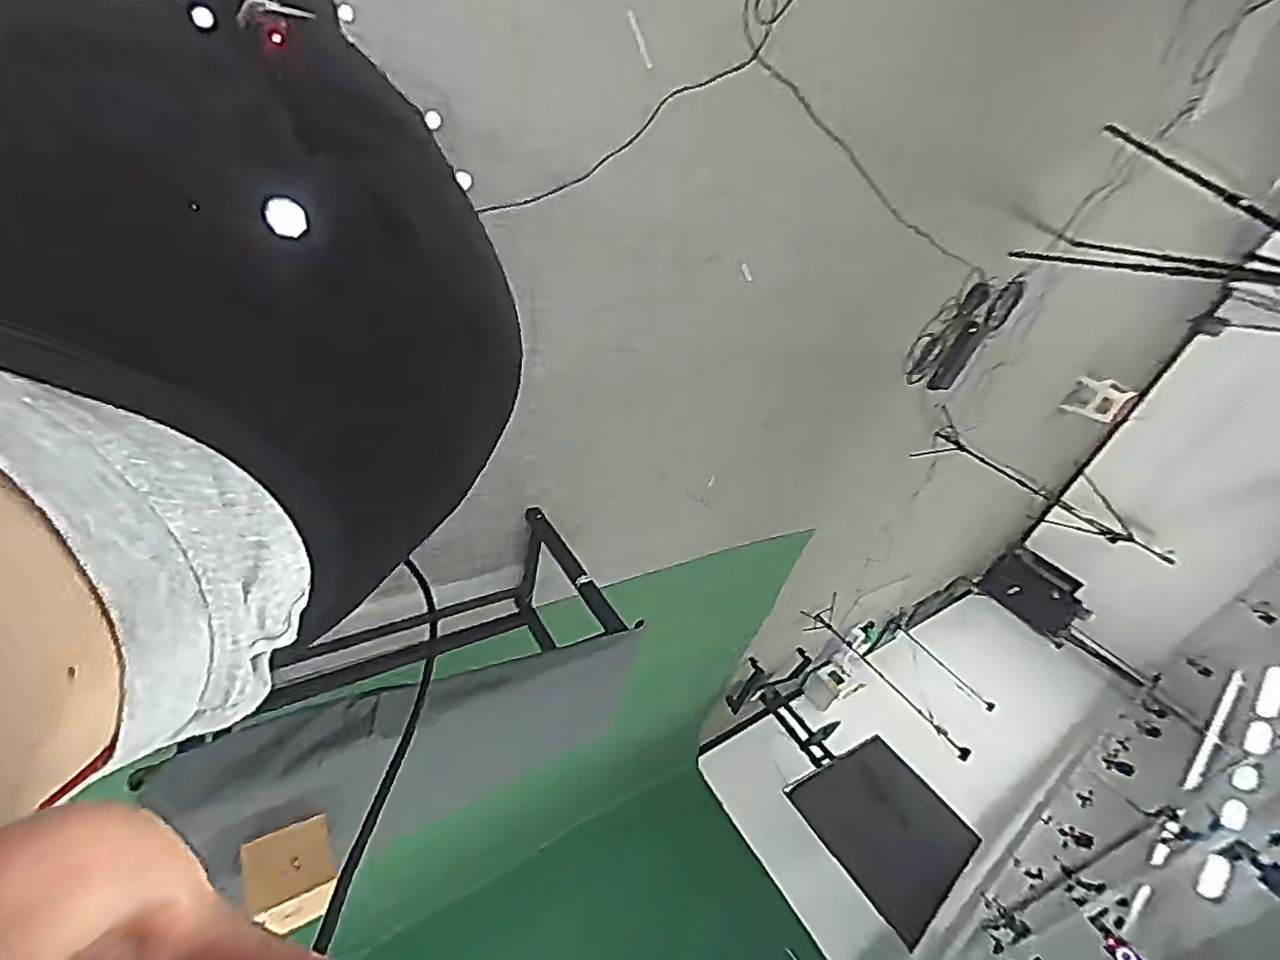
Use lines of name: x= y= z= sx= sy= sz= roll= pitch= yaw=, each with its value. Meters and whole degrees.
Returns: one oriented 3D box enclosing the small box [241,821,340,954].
small box: x=-0.851 y=0.977 z=1.314 sx=0.179 sy=0.176 sz=0.168 roll=-5 pitch=127 yaw=-41
